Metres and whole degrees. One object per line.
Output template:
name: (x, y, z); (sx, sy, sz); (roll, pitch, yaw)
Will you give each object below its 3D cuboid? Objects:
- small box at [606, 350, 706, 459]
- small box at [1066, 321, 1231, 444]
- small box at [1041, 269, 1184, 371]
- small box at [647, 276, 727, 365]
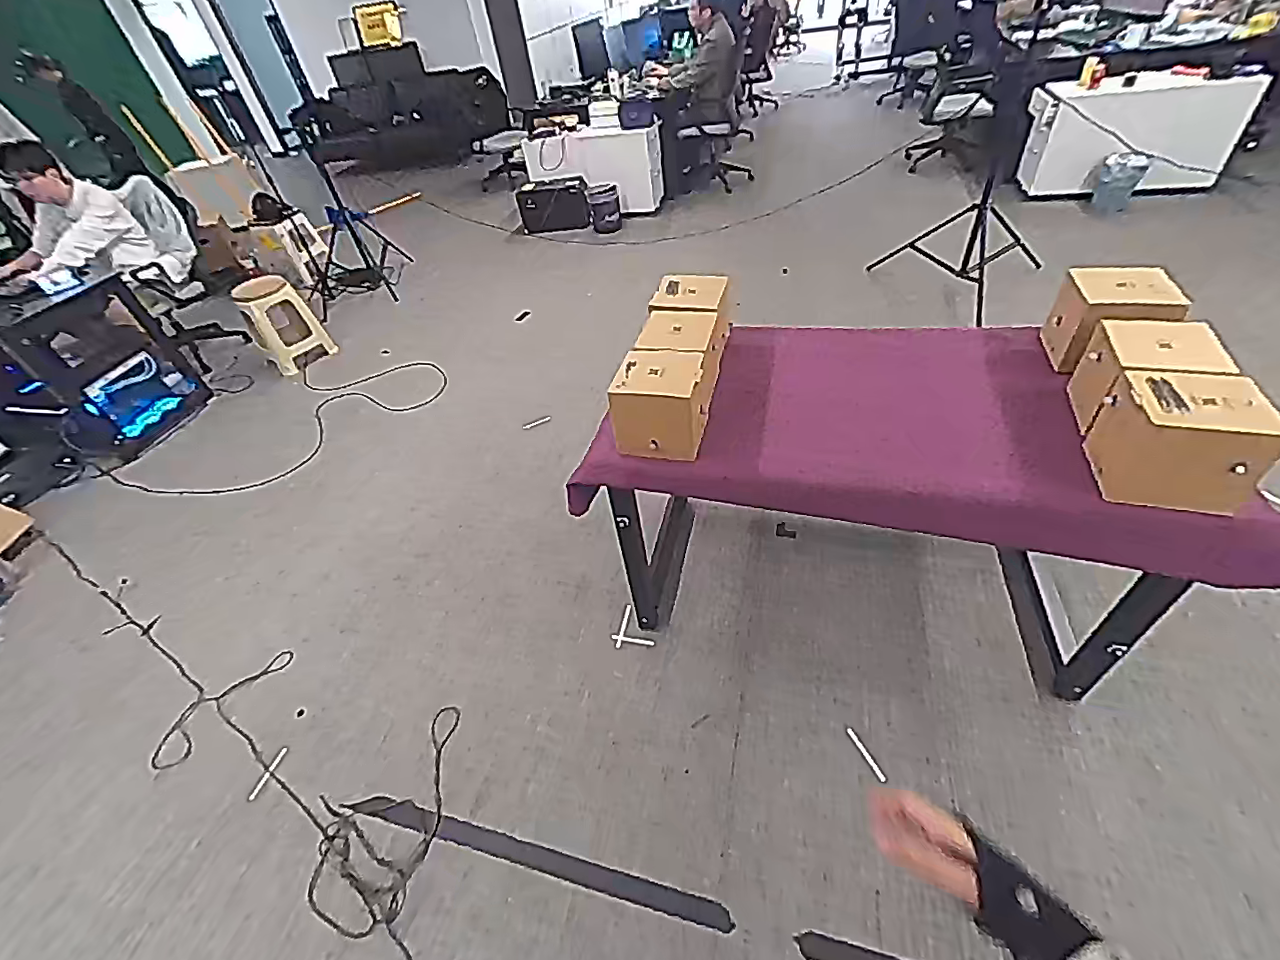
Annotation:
small box: (0.043, -0.163, 1.175); (0.179, 0.176, 0.168); (7, 45, 15)
small box: (0.964, -0.189, 1.046); (0.168, 0.176, 0.179); (9, 46, 19)
small box: (1.019, -0.349, 1.192); (0.179, 0.176, 0.168); (7, 47, 16)
small box: (0.129, -0.419, 1.423); (0.179, 0.176, 0.168); (8, 48, 16)
